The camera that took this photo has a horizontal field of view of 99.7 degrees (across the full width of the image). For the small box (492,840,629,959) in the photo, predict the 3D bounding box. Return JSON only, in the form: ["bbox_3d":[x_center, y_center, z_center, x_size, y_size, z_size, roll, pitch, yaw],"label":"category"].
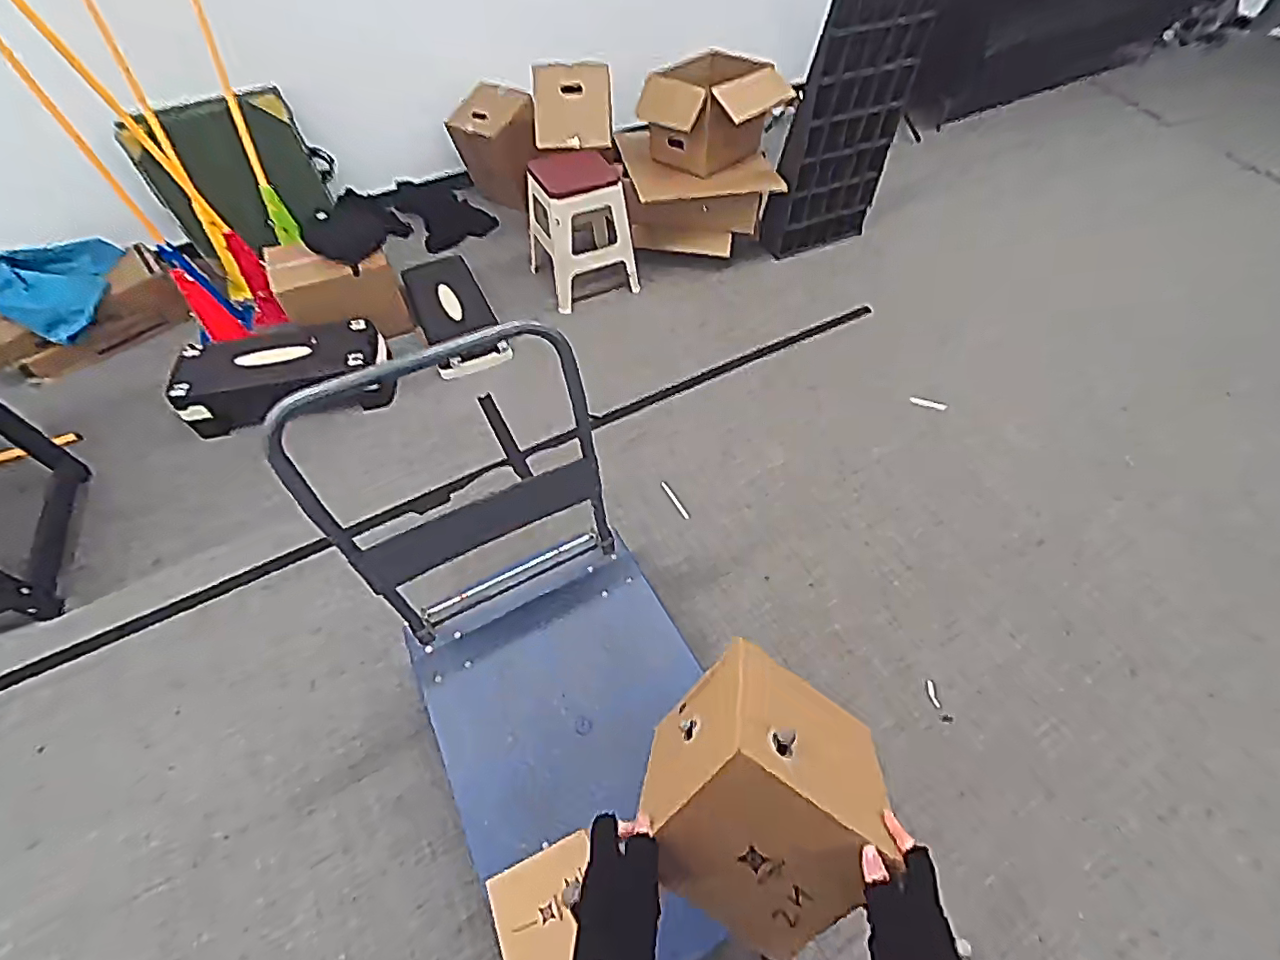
[{"bbox_3d":[-0.126,0.737,0.908,0.179,0.176,0.168,-21,55,-13],"label":"small box"}]

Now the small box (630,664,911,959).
[{"bbox_3d":[0.118,0.313,0.531,0.179,0.168,0.176,34,21,-1],"label":"small box"}]
